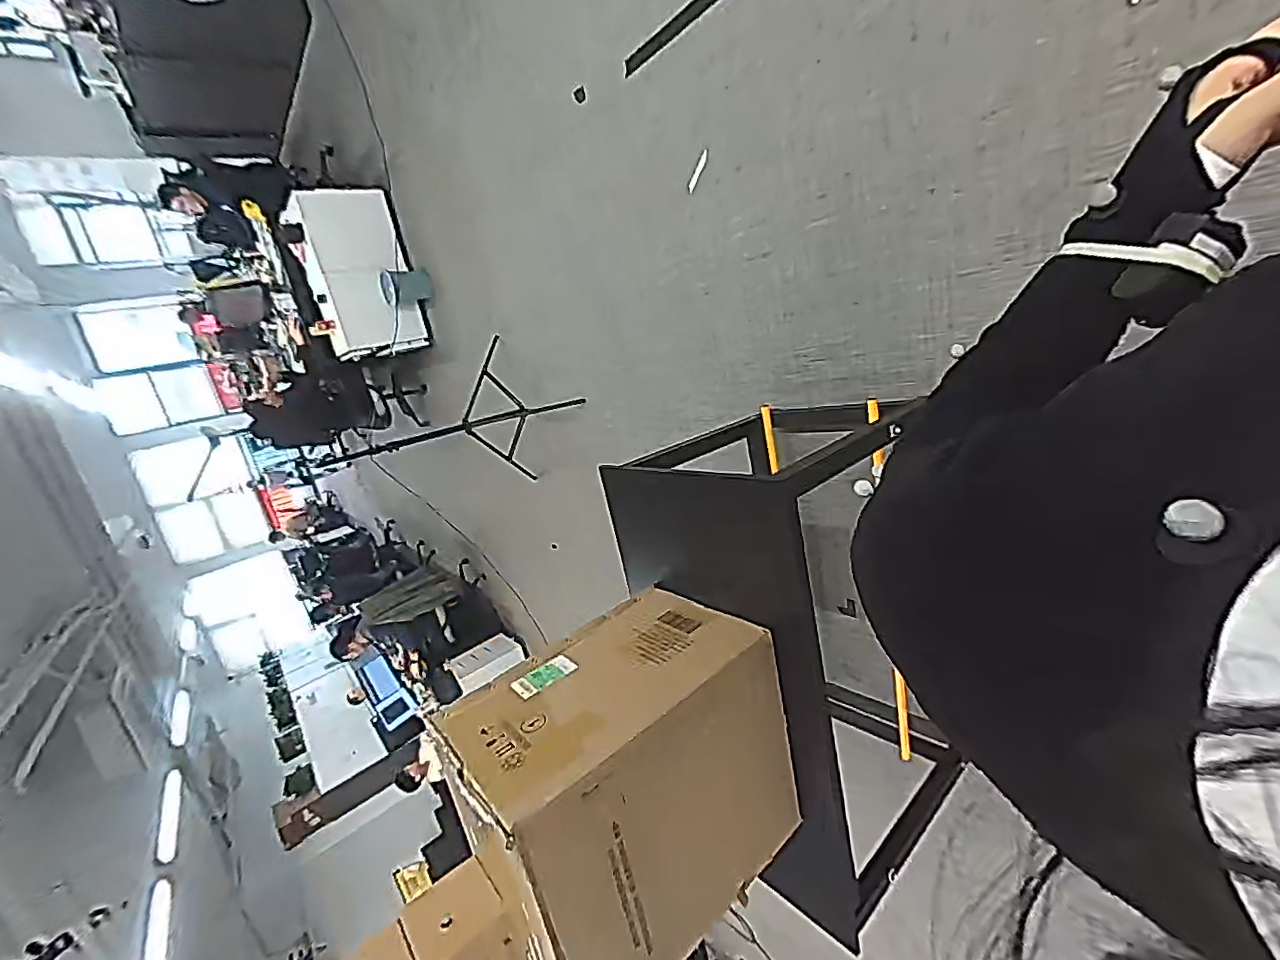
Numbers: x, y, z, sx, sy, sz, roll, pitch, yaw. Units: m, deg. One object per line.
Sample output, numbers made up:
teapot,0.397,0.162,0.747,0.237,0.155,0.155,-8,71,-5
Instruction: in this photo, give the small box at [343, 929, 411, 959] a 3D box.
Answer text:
small box,-0.466,0.956,0.957,0.179,0.176,0.168,9,116,51

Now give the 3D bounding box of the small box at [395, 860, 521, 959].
small box,-0.350,0.907,1.062,0.179,0.176,0.168,7,113,51
